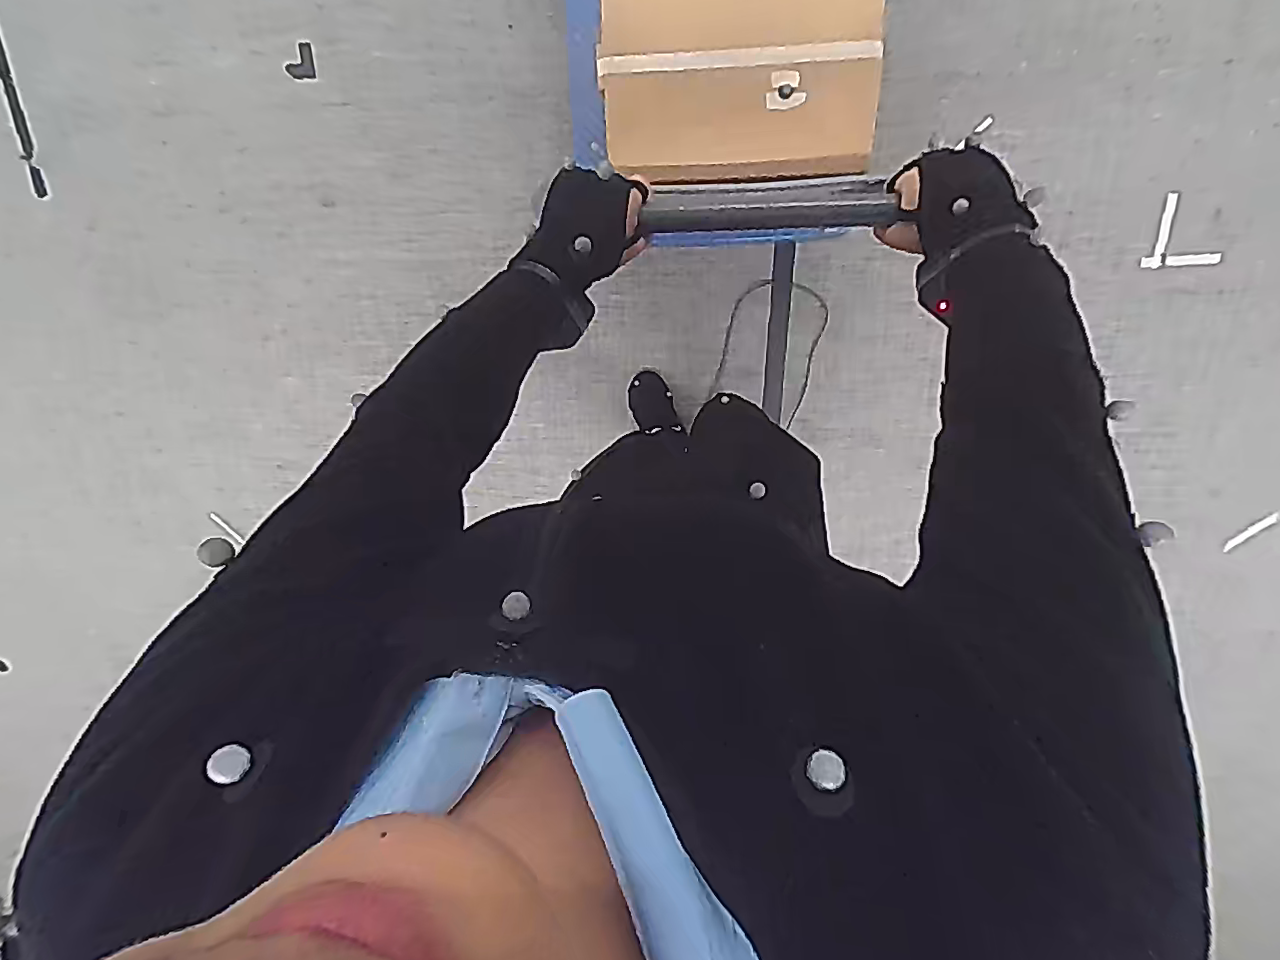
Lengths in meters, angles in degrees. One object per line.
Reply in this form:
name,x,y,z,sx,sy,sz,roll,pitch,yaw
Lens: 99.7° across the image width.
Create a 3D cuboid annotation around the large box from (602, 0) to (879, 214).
large box,0.152,-0.667,0.947,0.408,0.320,0.320,-2,110,2
